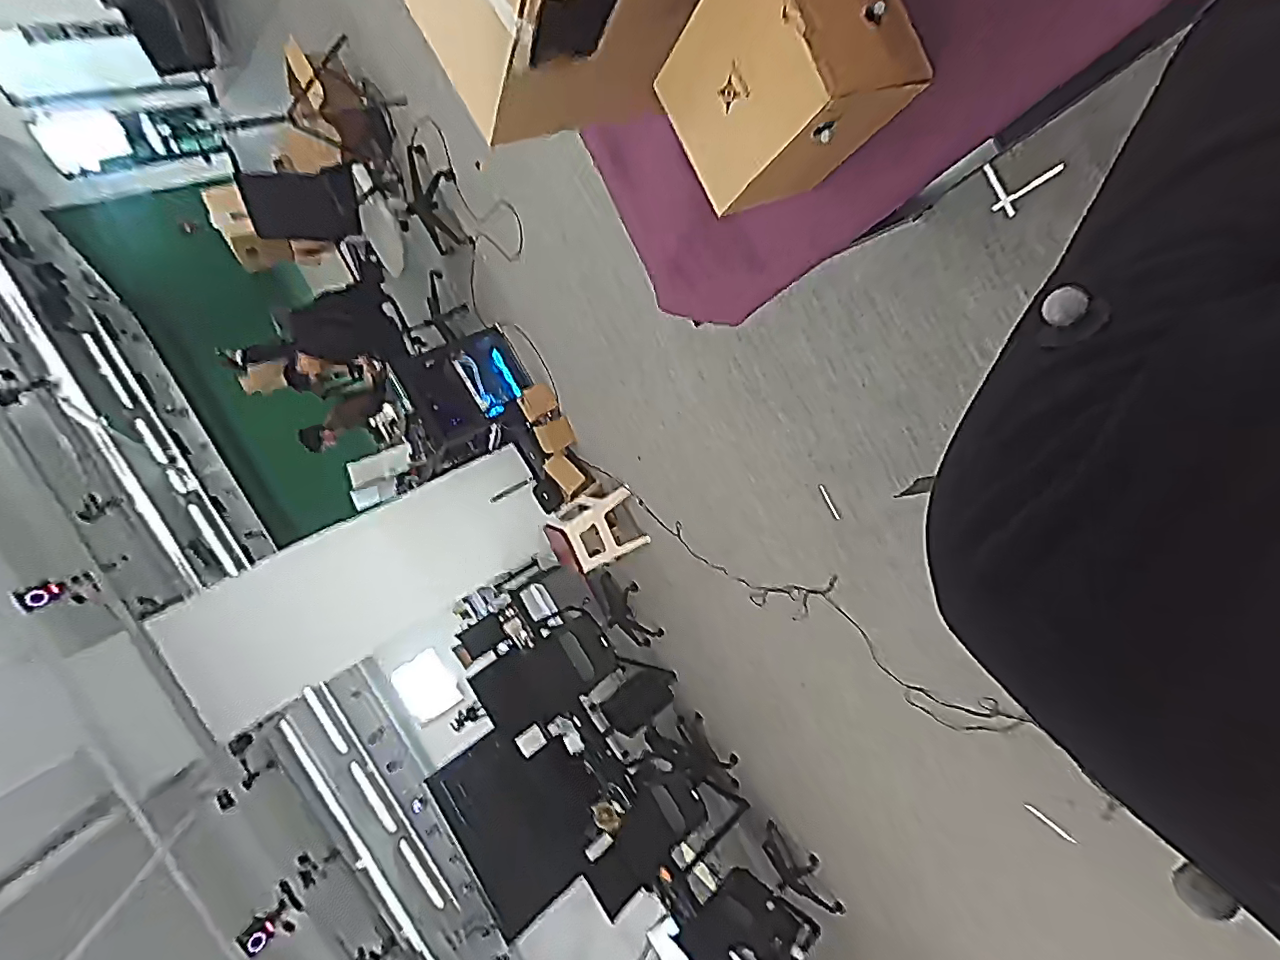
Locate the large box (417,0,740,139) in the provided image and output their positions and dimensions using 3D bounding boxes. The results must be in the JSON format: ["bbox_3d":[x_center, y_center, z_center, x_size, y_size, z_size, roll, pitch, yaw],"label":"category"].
[{"bbox_3d":[-0.093,-0.676,0.574,0.408,0.320,0.320,58,153,-3],"label":"large box"}]
